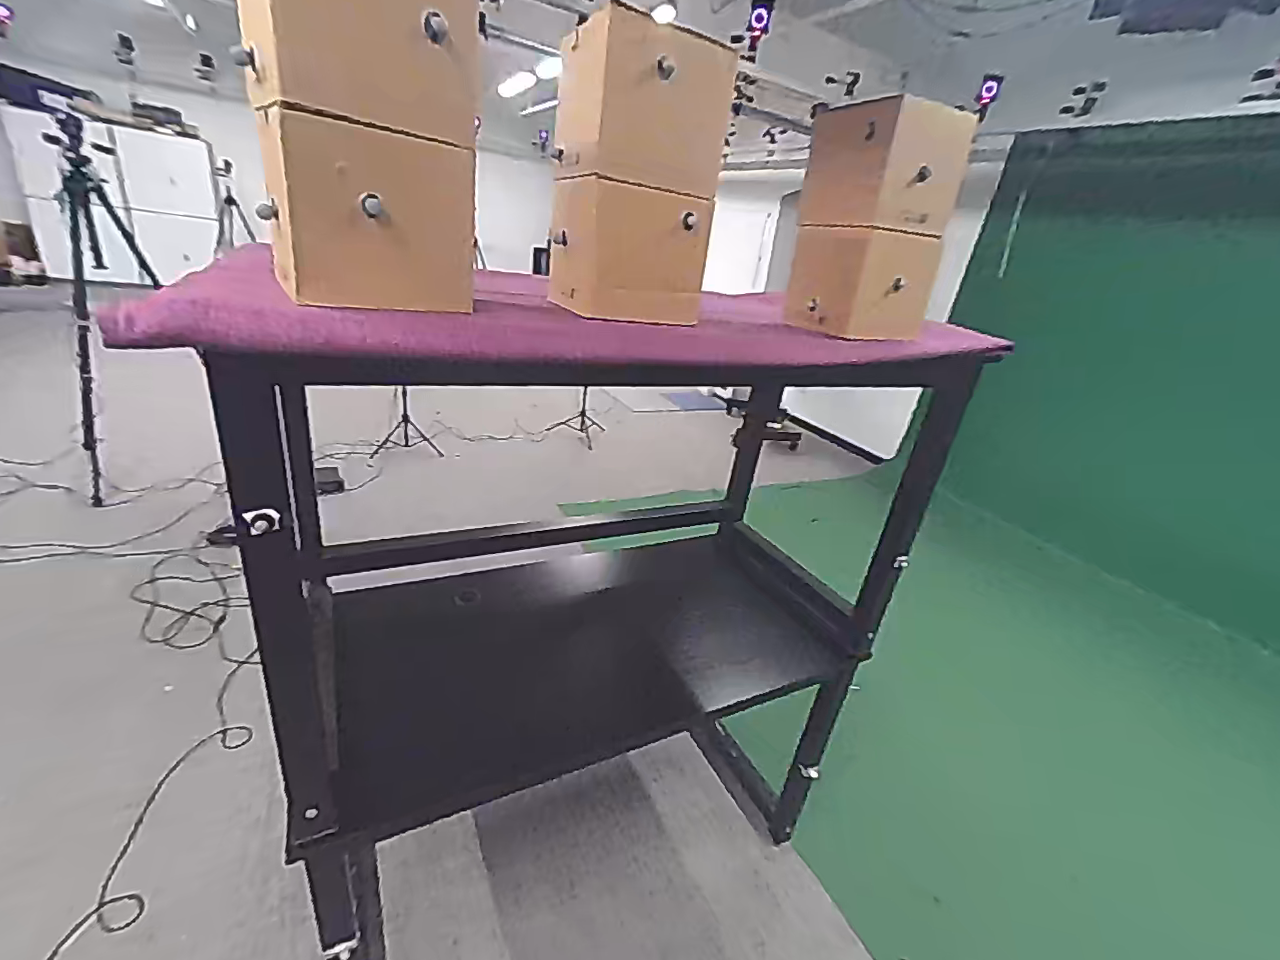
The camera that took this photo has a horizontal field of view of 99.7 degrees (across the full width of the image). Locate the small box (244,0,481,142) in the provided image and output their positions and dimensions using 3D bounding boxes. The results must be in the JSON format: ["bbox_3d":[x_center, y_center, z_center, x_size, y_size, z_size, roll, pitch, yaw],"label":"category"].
[{"bbox_3d":[-0.268,-0.430,0.522,0.179,0.176,0.168,-13,32,-39],"label":"small box"}]

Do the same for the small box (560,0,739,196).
[{"bbox_3d":[0.001,-0.471,0.707,0.179,0.176,0.168,-3,26,-28],"label":"small box"}]

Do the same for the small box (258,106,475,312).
[{"bbox_3d":[-0.291,-0.283,0.589,0.179,0.176,0.168,-11,32,-36],"label":"small box"}]

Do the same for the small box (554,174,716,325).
[{"bbox_3d":[-0.018,-0.320,0.767,0.179,0.176,0.168,-4,26,-27],"label":"small box"}]

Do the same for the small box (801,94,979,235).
[{"bbox_3d":[0.388,-0.491,0.866,0.168,0.176,0.179,-6,26,-26],"label":"small box"}]
